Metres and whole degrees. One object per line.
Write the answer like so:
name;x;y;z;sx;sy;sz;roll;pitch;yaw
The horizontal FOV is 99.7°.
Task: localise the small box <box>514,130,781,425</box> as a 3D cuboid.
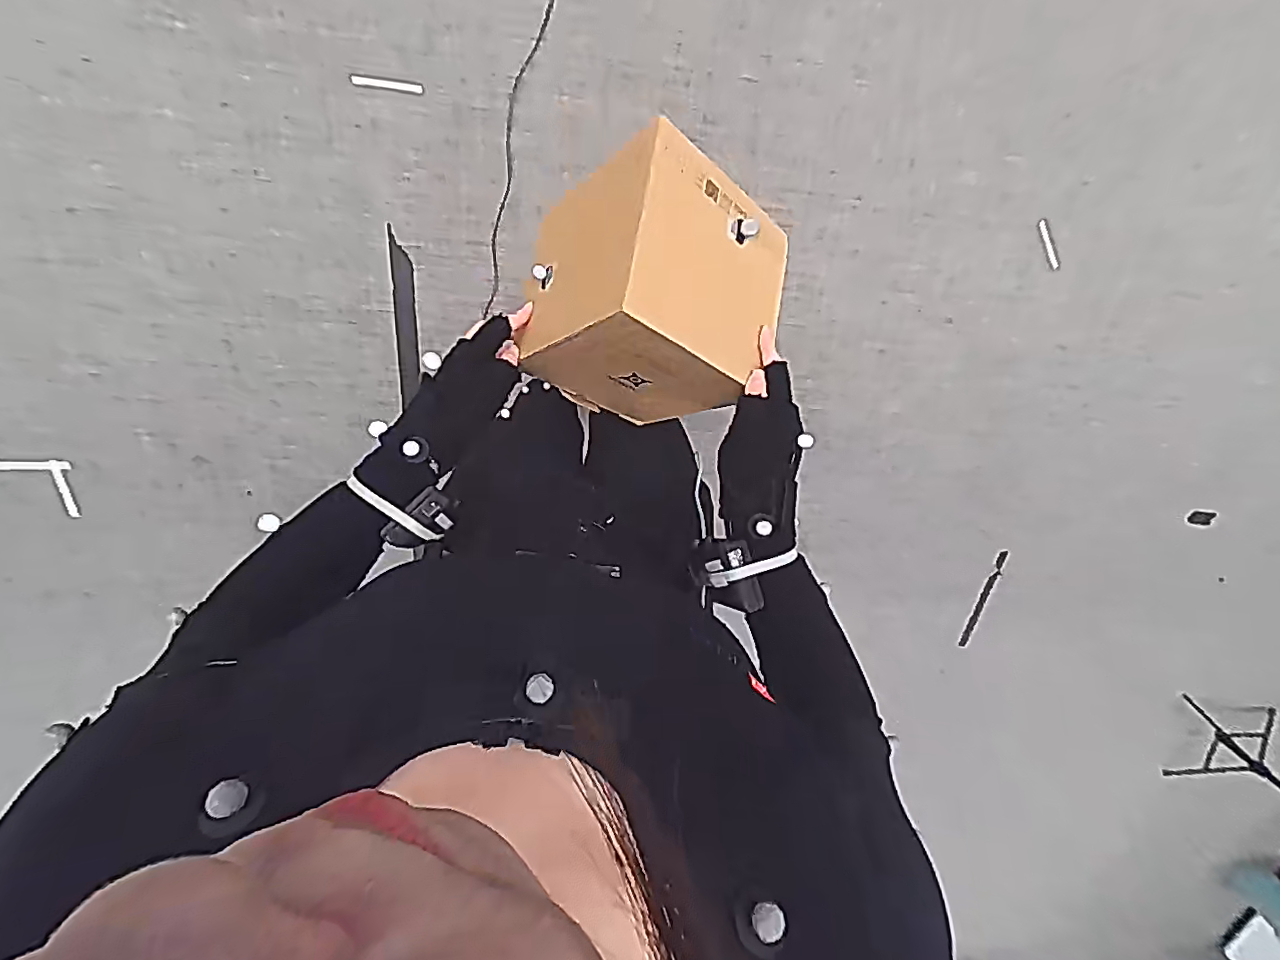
small box;0.010;-0.167;0.503;0.168;0.179;0.176;20;74;-37
